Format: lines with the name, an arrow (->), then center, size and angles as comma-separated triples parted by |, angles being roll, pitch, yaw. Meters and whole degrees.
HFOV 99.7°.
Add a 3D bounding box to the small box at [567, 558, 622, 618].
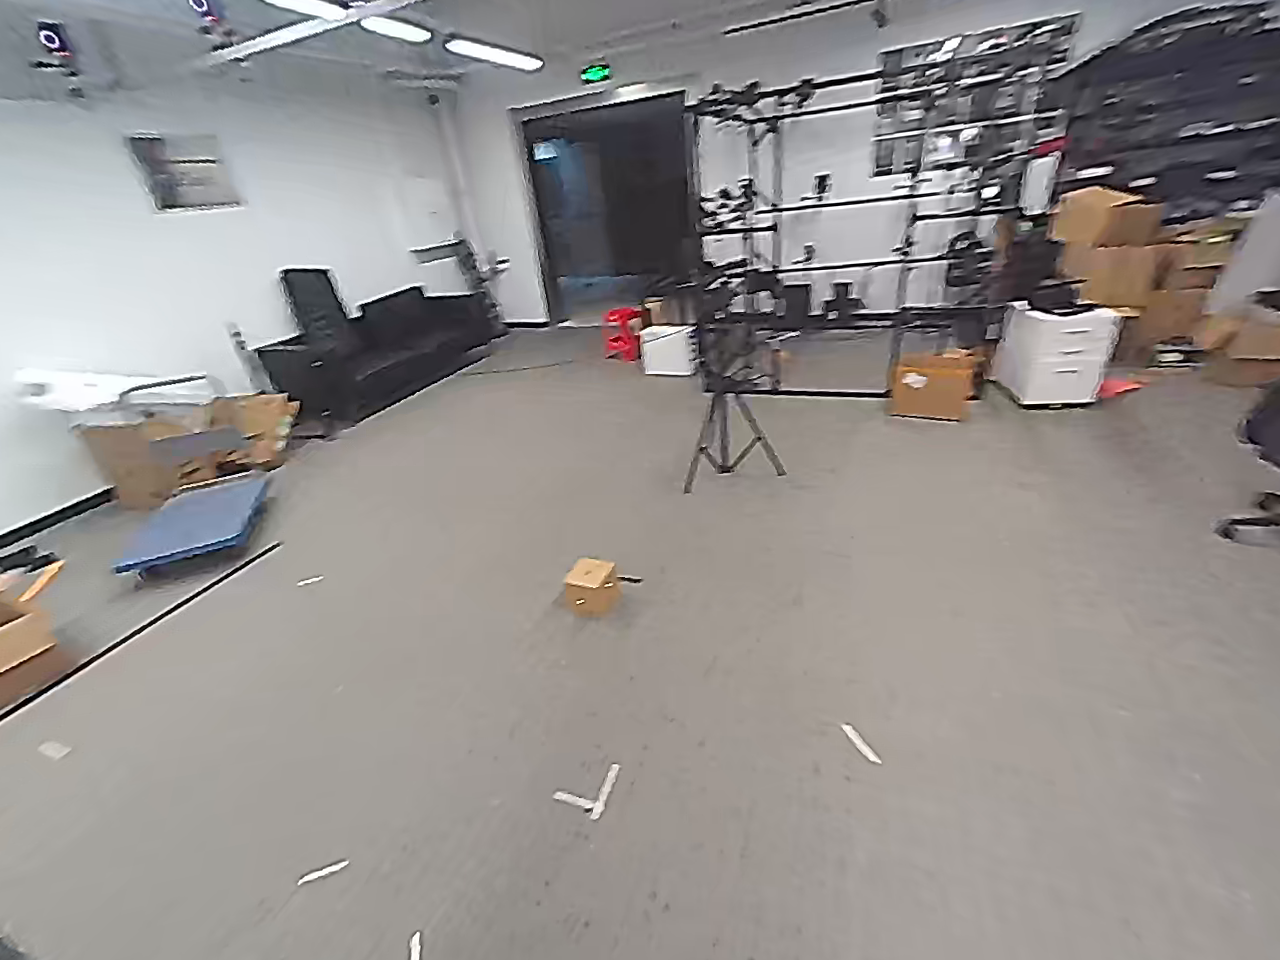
small box -> -0.190, 0.466, 2.330 | 0.168, 0.176, 0.179 | 7, 31, 24
